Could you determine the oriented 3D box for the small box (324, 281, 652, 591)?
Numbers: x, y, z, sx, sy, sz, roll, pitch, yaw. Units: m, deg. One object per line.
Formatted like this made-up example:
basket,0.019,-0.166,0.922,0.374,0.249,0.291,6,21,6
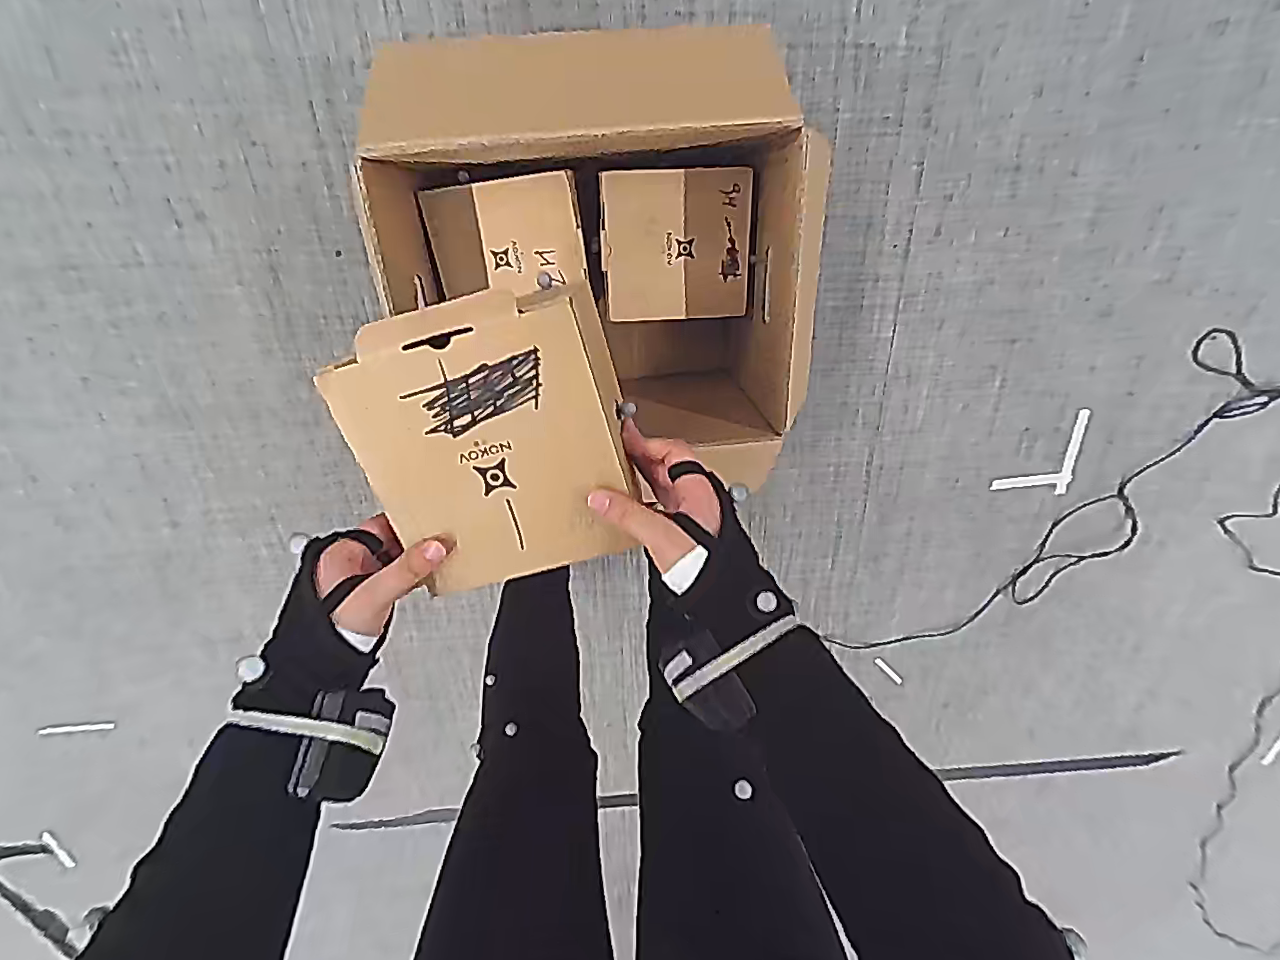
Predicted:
small box,-0.095,-0.047,0.424,0.168,0.176,0.179,-15,115,5
